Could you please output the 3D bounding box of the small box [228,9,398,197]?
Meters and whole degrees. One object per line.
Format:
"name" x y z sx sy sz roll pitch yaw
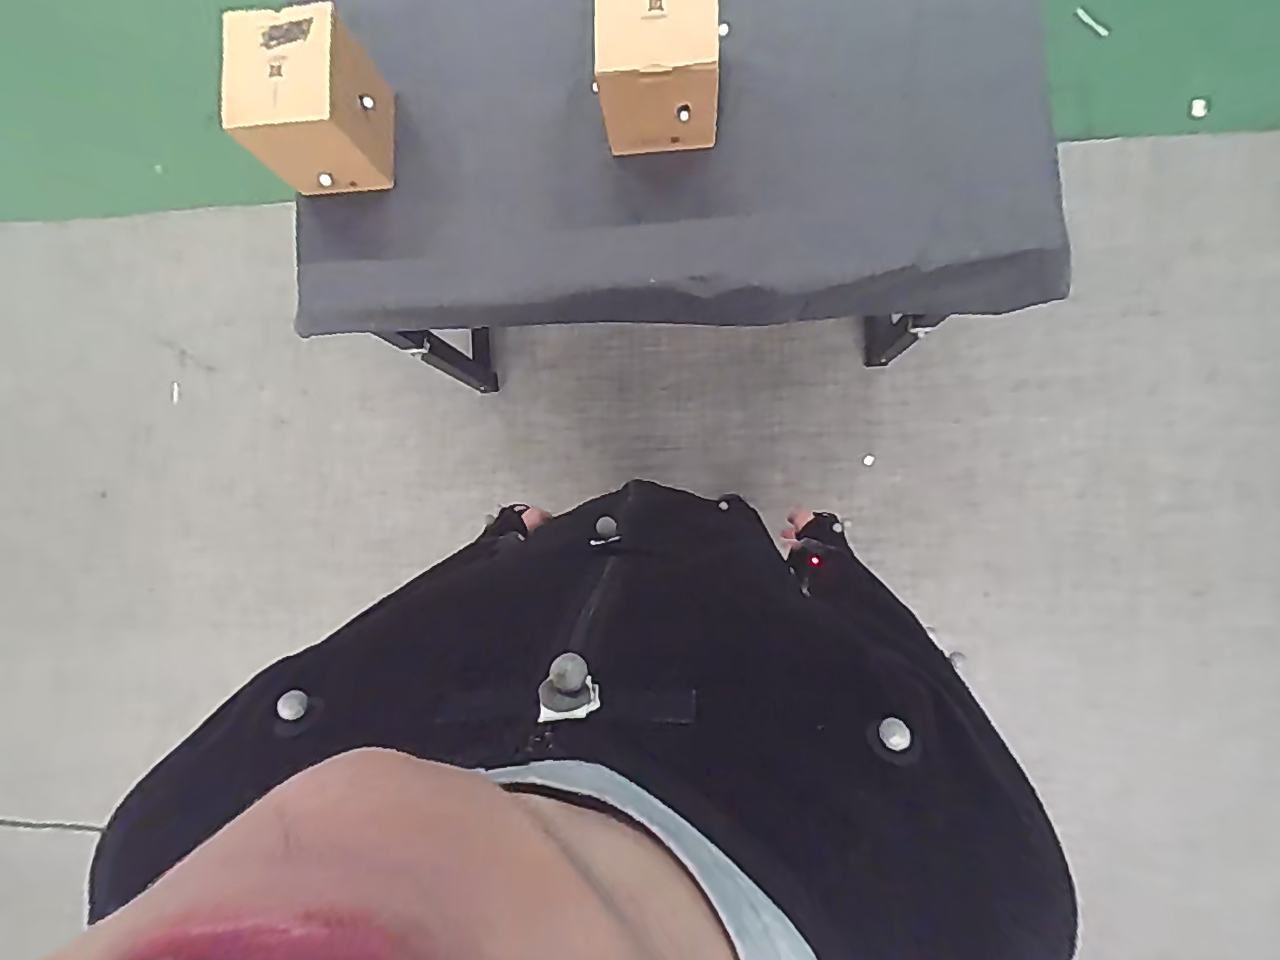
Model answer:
"small box" -0.501 -0.578 0.849 0.168 0.176 0.179 -2 88 5

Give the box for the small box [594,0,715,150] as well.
"small box" 0.026 -0.620 0.802 0.168 0.176 0.179 -2 86 4
